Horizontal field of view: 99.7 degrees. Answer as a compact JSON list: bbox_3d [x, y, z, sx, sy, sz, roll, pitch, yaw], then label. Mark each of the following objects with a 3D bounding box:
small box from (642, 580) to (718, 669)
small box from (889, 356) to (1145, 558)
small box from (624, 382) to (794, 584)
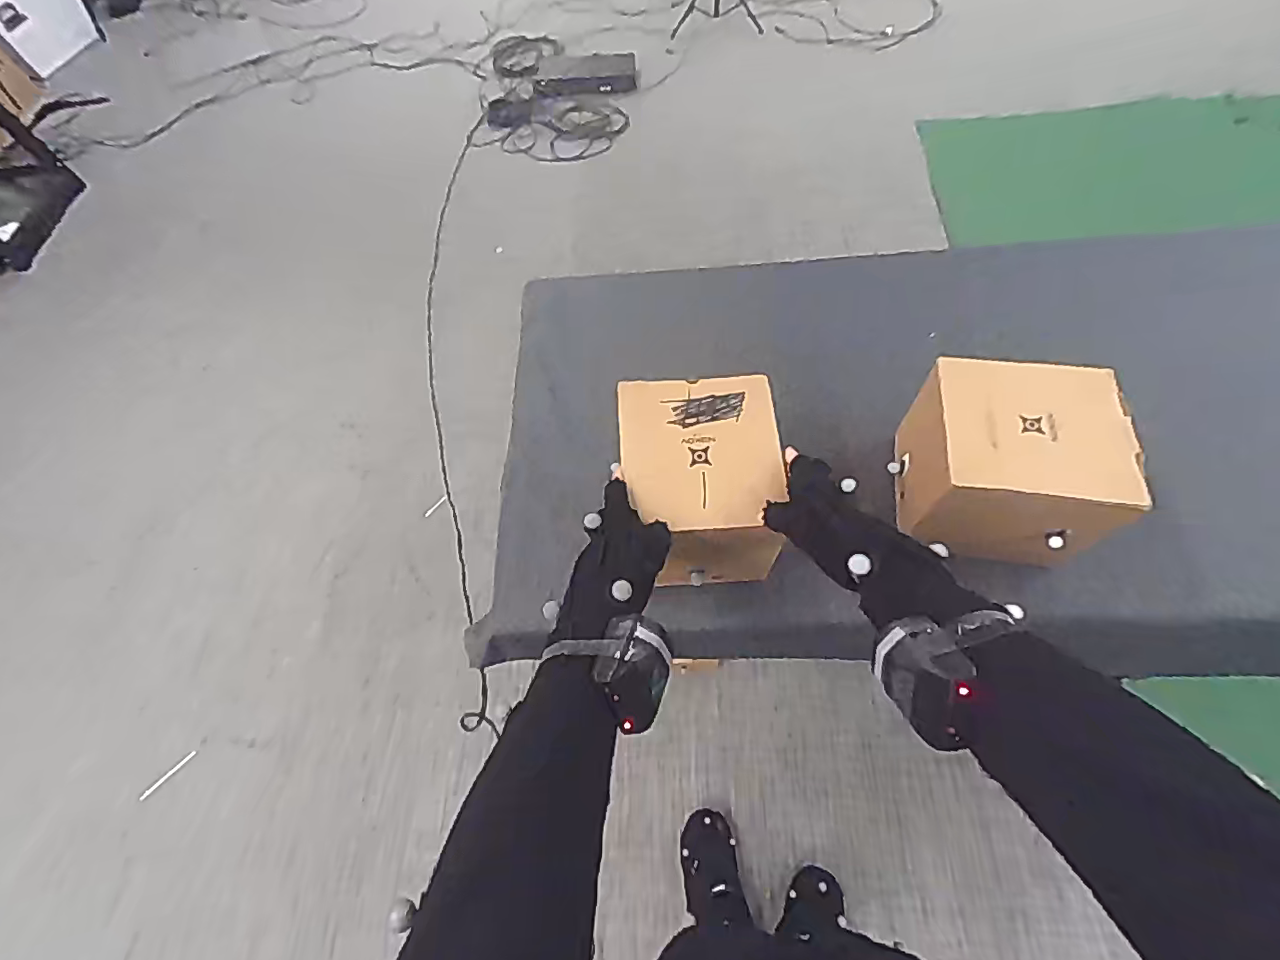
[{"bbox_3d":[0.097,0.349,1.286,0.168,0.176,0.179,-5,62,3],"label":"small box"},{"bbox_3d":[0.408,-0.019,0.623,0.179,0.176,0.168,6,61,9],"label":"small box"},{"bbox_3d":[0.067,0.008,0.635,0.168,0.176,0.179,-4,61,0],"label":"small box"}]
